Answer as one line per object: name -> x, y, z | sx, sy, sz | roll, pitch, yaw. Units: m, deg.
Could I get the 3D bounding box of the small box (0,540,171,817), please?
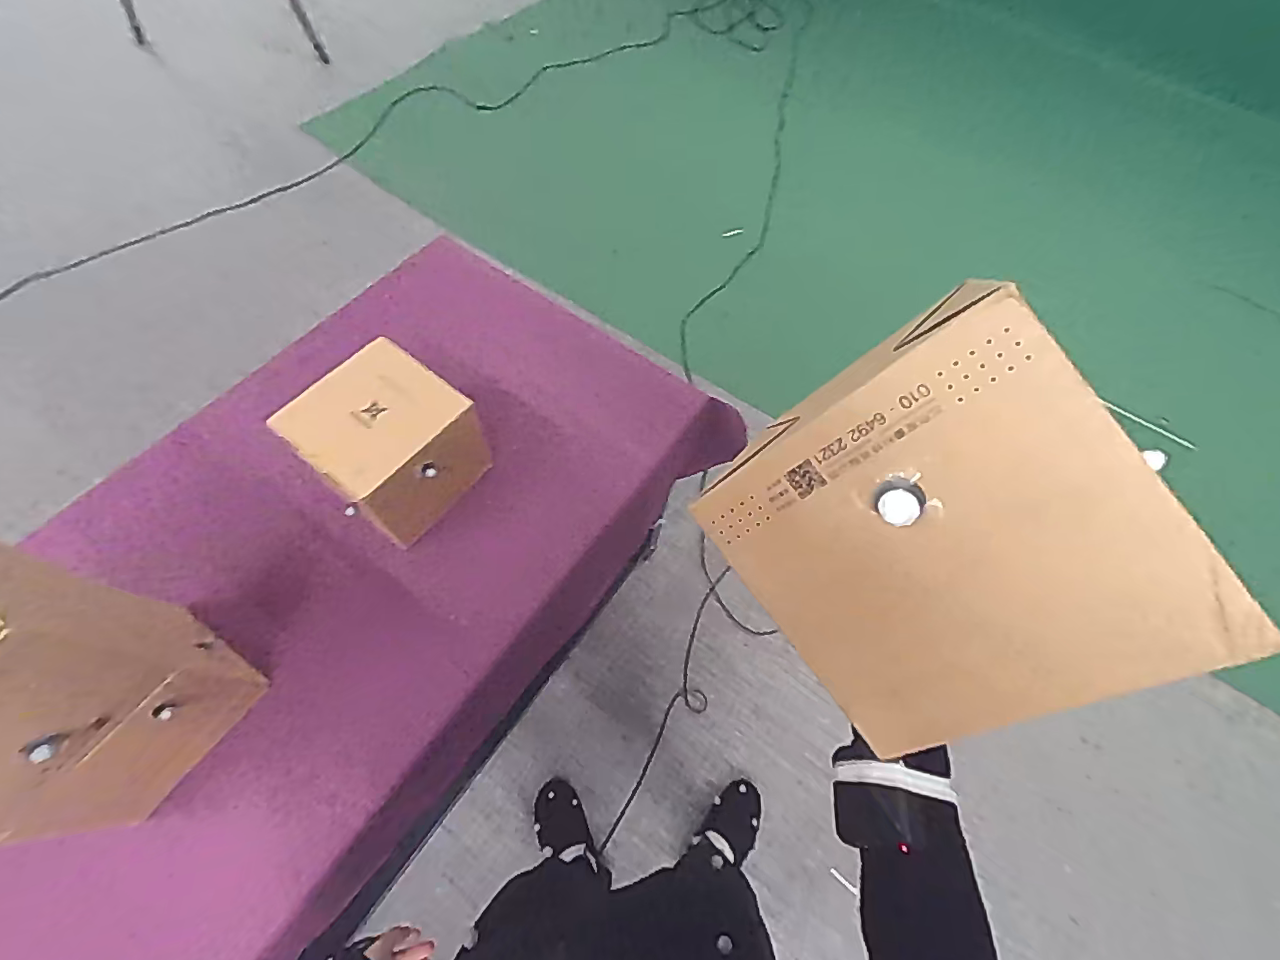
small box -> -0.549, 0.151, 0.428 | 0.179, 0.176, 0.168 | 31, 65, 12

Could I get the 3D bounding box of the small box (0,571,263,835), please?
small box -> -0.560, 0.233, 0.571 | 0.168, 0.176, 0.179 | 31, 65, 12

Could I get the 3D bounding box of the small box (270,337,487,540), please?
small box -> -0.331, -0.048, 0.727 | 0.168, 0.176, 0.179 | 36, 66, 12

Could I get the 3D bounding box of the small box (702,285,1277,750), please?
small box -> 0.166, 0.008, 0.310 | 0.176, 0.168, 0.179 | 53, 33, 2
